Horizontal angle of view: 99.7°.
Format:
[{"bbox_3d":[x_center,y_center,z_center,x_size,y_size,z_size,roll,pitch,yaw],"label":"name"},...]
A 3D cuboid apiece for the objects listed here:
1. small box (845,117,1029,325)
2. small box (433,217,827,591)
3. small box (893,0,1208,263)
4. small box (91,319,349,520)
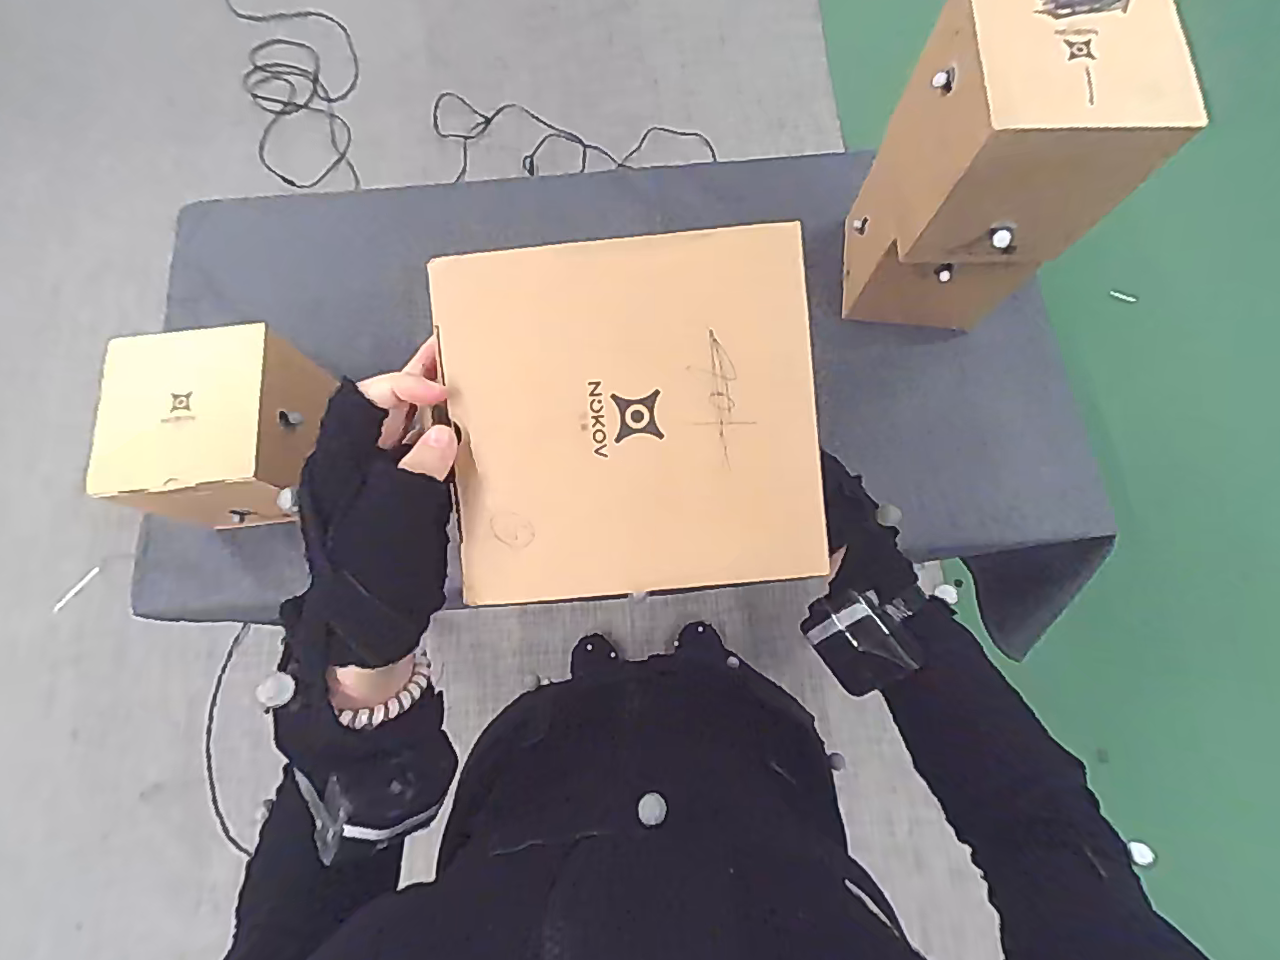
[{"bbox_3d":[0.371,-0.313,0.678,0.179,0.176,0.168,7,76,3],"label":"small box"},{"bbox_3d":[-0.003,-0.036,0.331,0.179,0.176,0.168,-5,93,0],"label":"small box"},{"bbox_3d":[0.359,-0.336,0.515,0.168,0.176,0.179,1,76,2],"label":"small box"},{"bbox_3d":[-0.462,-0.060,0.627,0.168,0.176,0.179,-6,76,-1],"label":"small box"}]
